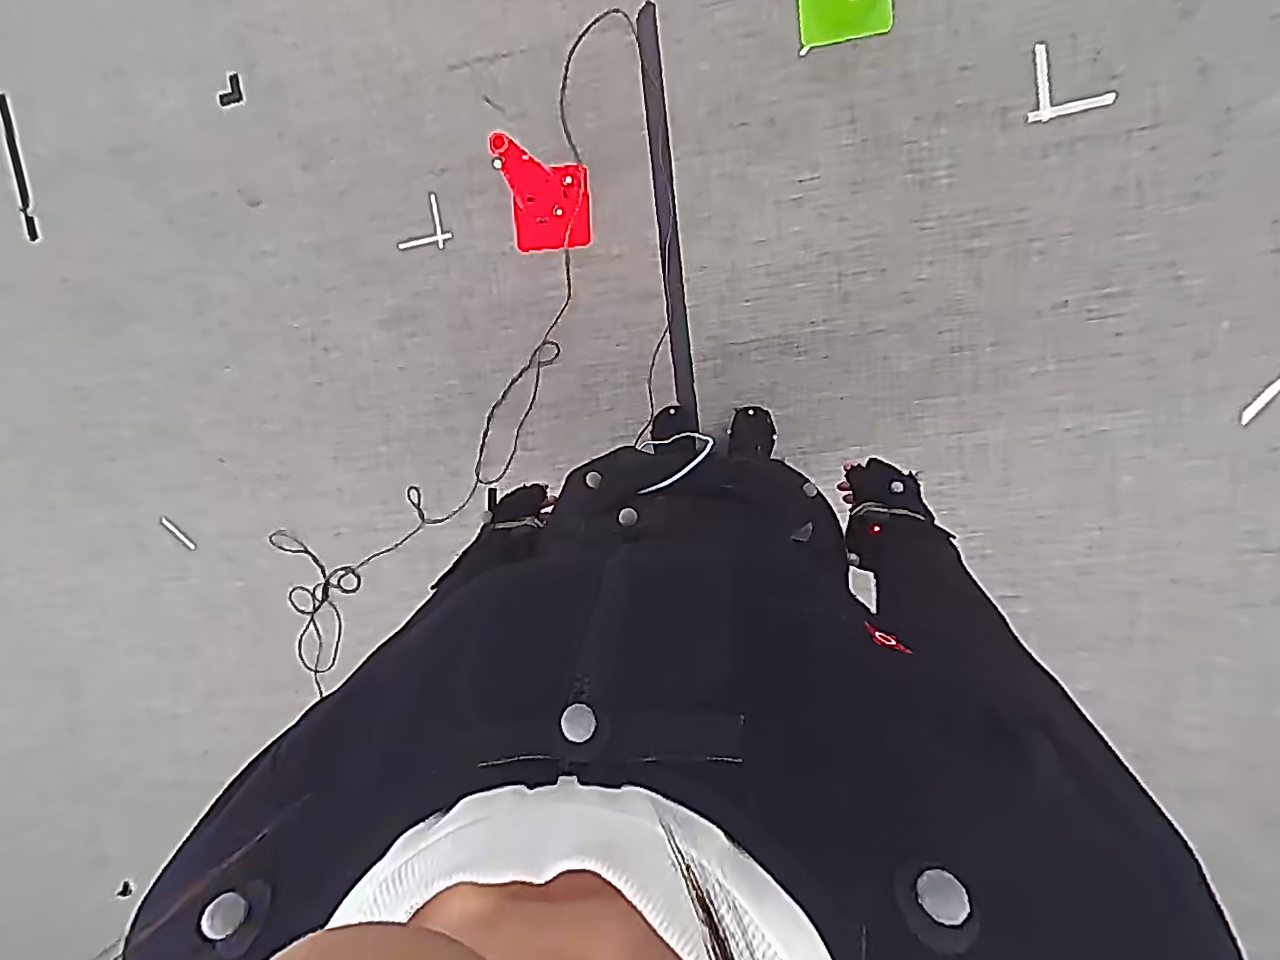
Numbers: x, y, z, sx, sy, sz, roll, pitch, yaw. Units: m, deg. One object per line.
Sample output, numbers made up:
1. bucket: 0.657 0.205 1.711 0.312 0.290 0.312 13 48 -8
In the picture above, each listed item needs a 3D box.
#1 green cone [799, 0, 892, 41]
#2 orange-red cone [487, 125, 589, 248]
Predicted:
1. green cone: 0.437 -1.080 1.042 0.202 0.368 0.200 -6 97 7
2. orange-red cone: -0.251 -0.673 1.198 0.199 0.360 0.198 -1 96 9
